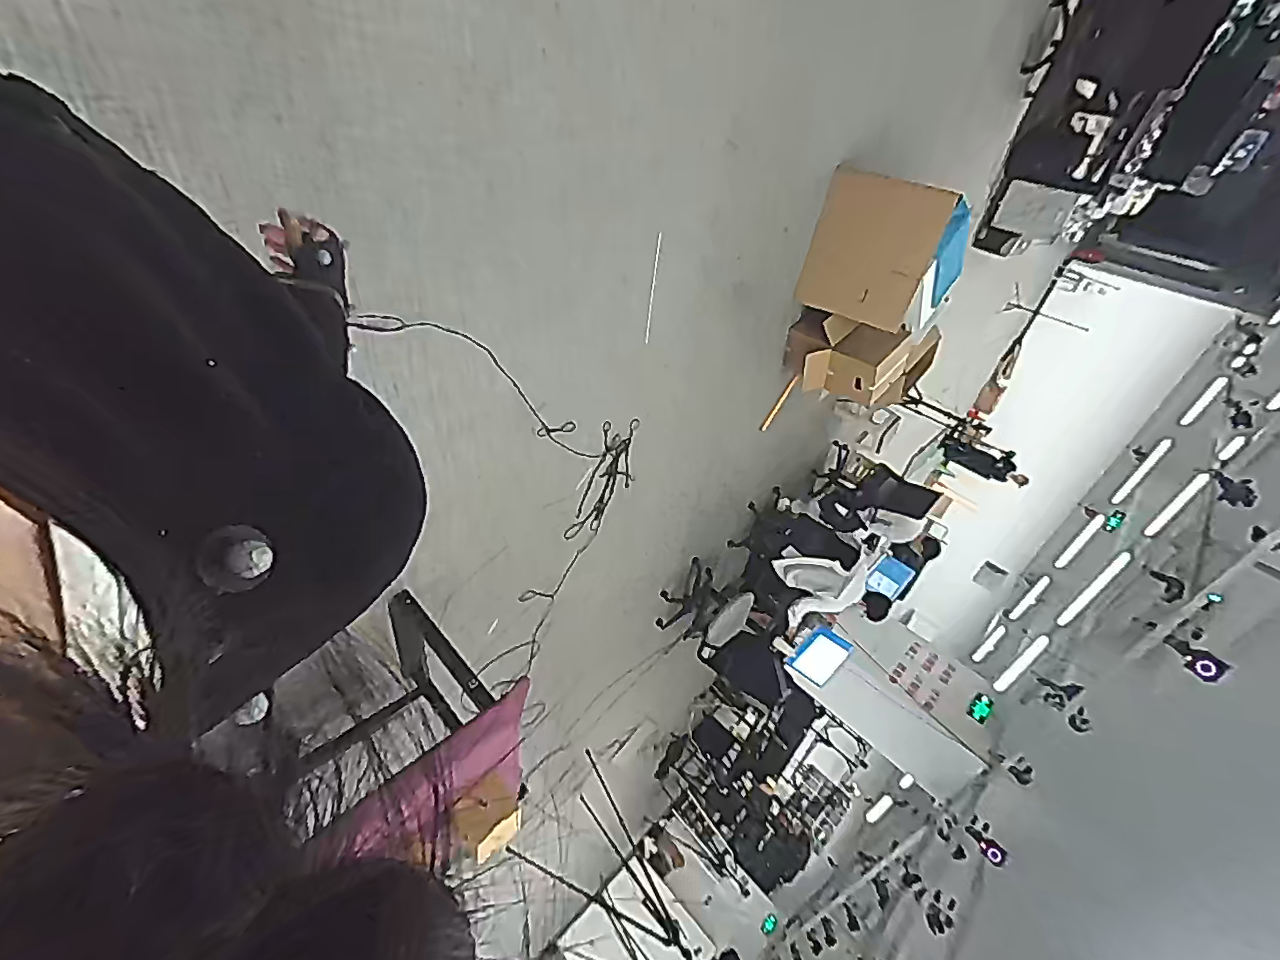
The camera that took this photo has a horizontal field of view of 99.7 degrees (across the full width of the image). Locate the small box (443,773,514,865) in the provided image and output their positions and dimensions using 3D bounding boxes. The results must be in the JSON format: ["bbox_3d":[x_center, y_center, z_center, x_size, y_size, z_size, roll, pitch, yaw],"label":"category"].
[{"bbox_3d":[-0.538,1.113,1.791,0.168,0.176,0.179,-25,139,-41],"label":"small box"}]

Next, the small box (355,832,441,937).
[{"bbox_3d":[-0.723,1.204,1.618,0.168,0.176,0.179,-30,142,-37],"label":"small box"}]
